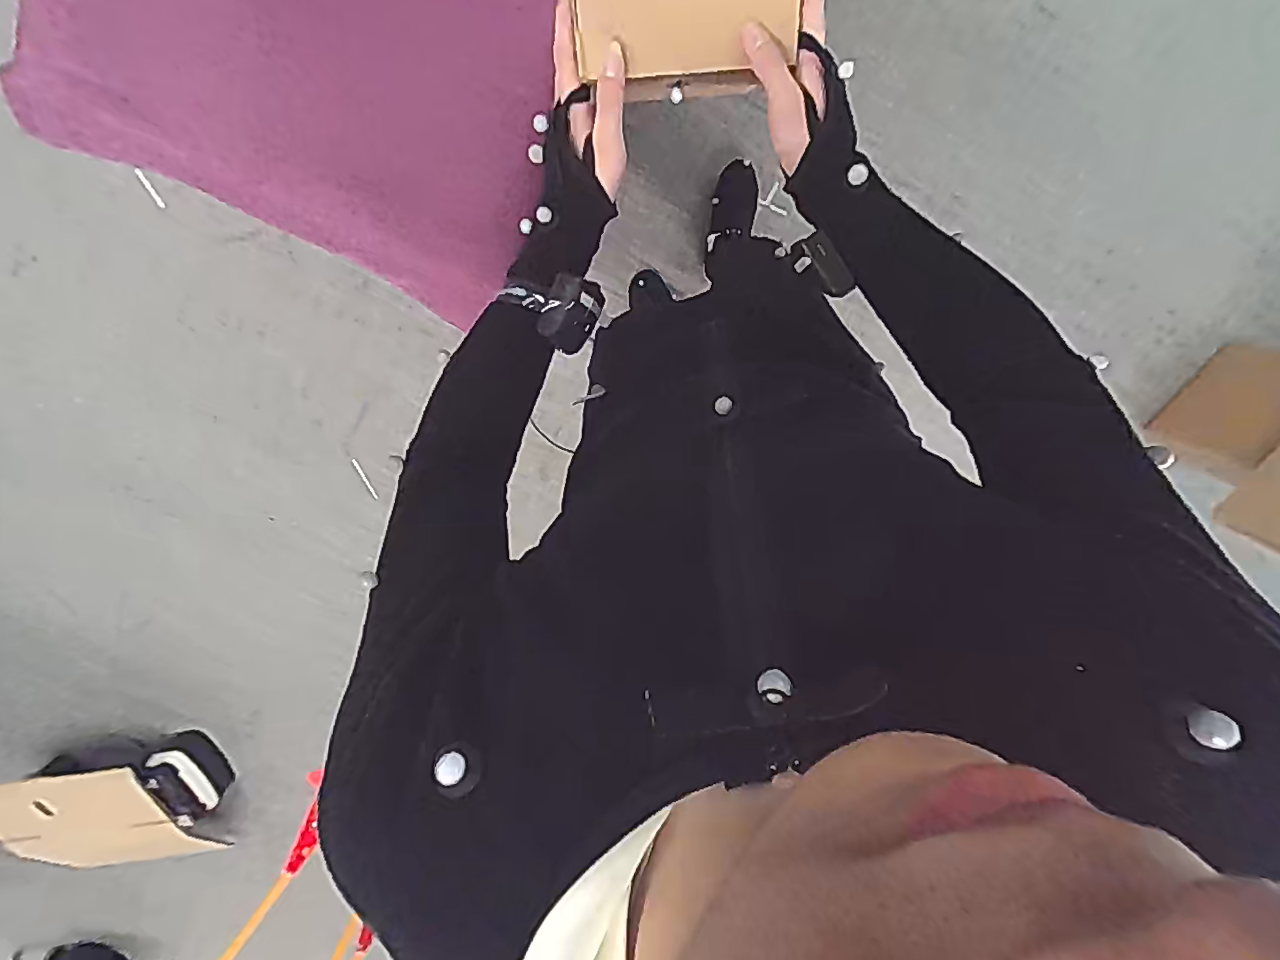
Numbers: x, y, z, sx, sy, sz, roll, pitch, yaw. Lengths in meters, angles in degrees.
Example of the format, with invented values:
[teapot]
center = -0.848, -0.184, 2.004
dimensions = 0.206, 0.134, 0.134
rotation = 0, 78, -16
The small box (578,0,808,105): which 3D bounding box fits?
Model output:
[small box]
center = 0.036, -0.429, 0.461
dimensions = 0.179, 0.176, 0.168
rotation = -4, 120, -2
